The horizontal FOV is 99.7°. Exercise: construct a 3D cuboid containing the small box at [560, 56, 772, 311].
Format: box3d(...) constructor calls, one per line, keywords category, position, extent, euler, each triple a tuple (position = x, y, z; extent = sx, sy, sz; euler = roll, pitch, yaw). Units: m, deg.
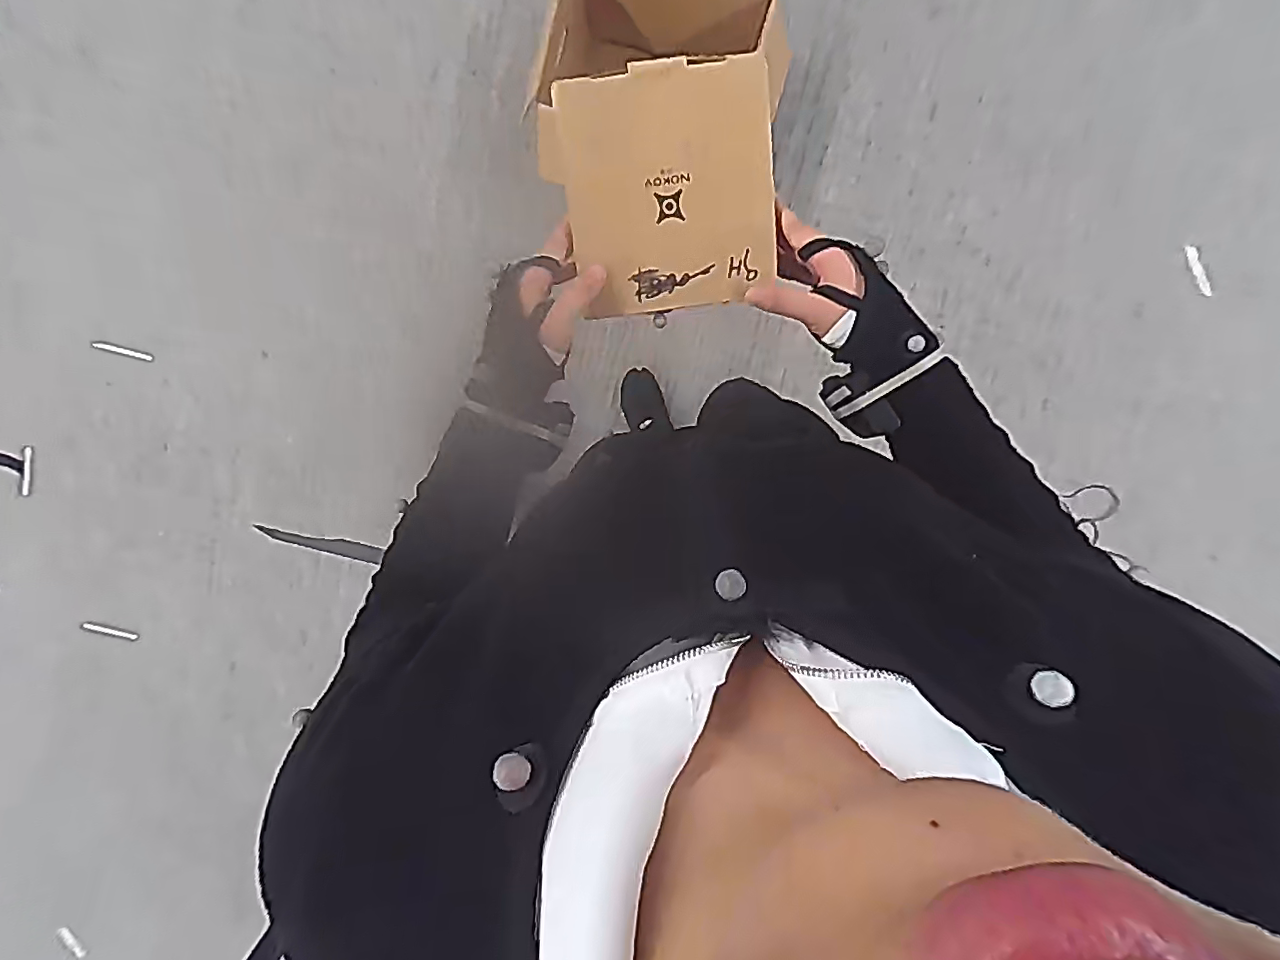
box3d(category="small box", position=(0.025, -0.259, 0.516), extent=(0.168, 0.176, 0.179), euler=(-5, 108, 3))
